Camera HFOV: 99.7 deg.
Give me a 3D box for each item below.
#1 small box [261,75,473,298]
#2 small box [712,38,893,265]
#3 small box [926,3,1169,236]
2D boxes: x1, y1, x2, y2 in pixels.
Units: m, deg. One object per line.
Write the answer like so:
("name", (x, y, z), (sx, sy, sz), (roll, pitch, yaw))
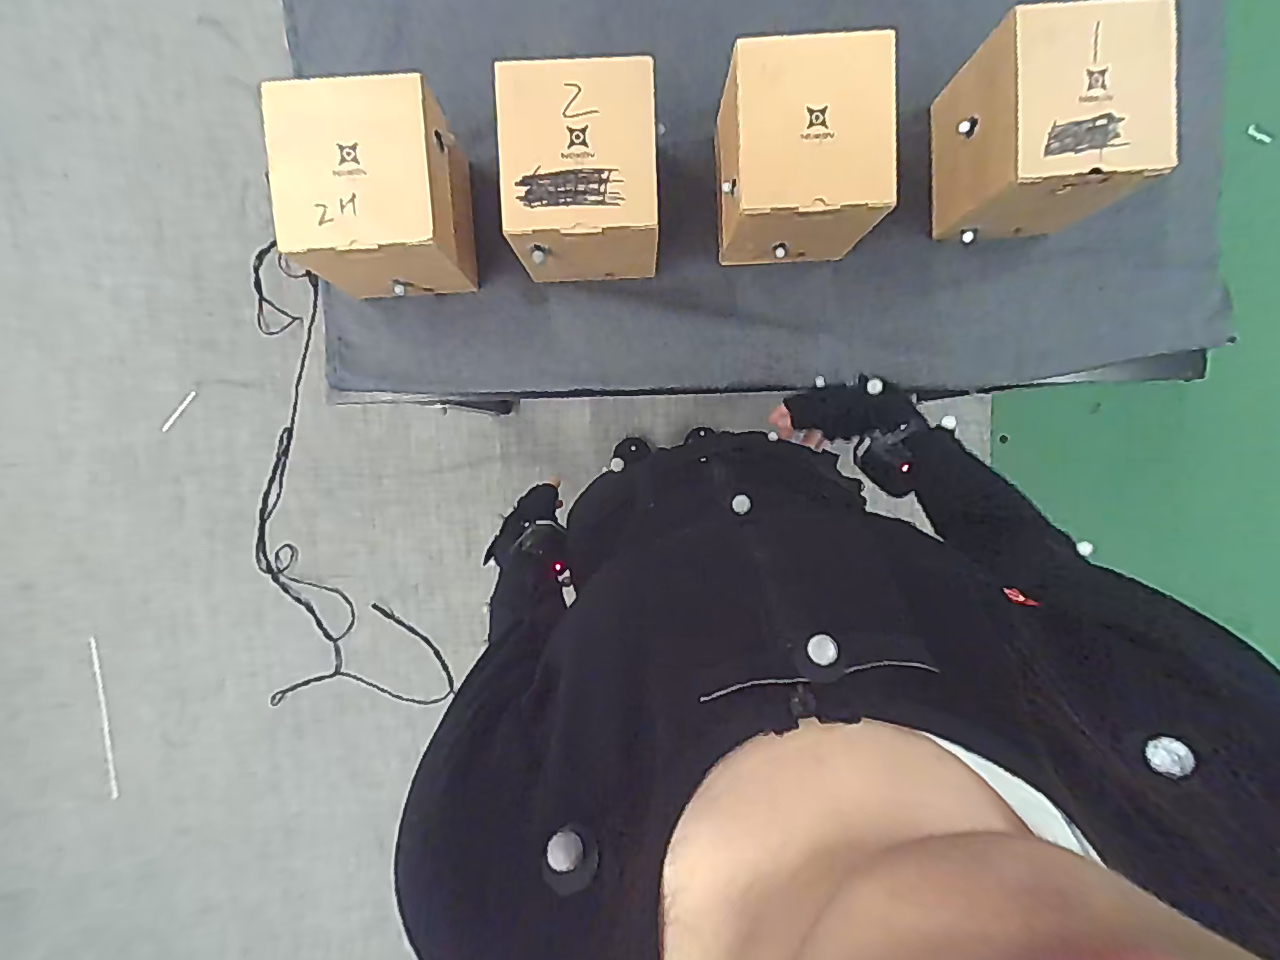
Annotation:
("small box", (-0.304, -0.330, 0.637), (0.168, 0.176, 0.179), (-4, 93, -1))
("small box", (0.181, -0.374, 0.644), (0.168, 0.176, 0.179), (-3, 95, -1))
("small box", (0.463, -0.404, 0.640), (0.168, 0.176, 0.179), (-3, 93, 0))
